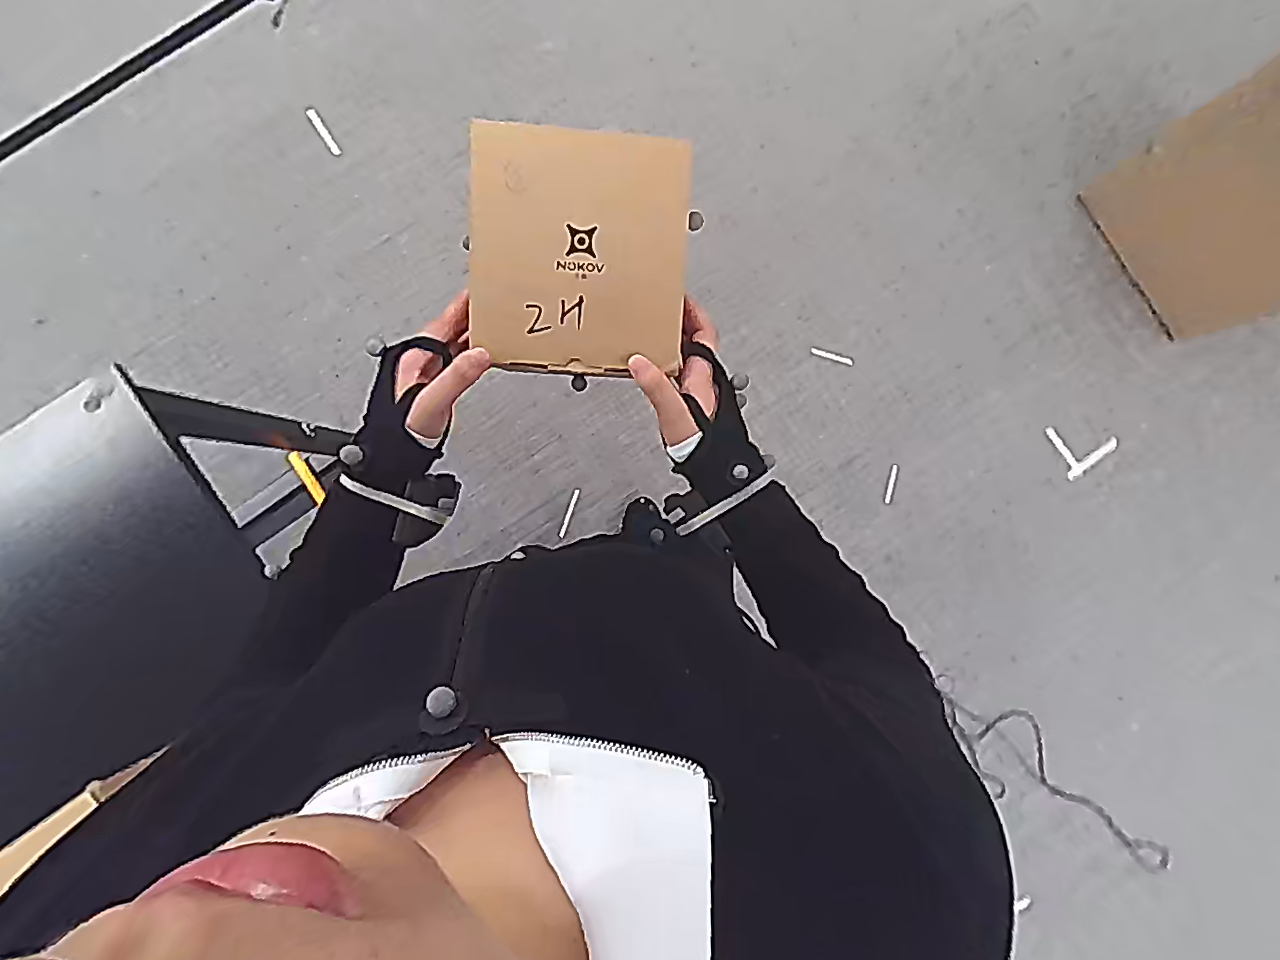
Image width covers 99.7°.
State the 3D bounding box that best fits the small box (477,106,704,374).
[{"bbox_3d":[-0.045,-0.194,0.490,0.168,0.176,0.179,3,99,-4],"label":"small box"}]

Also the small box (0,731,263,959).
[{"bbox_3d":[-0.611,0.448,0.662,0.179,0.176,0.168,-36,89,-3],"label":"small box"}]

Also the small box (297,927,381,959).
[{"bbox_3d":[-0.405,0.715,0.656,0.168,0.176,0.179,-33,88,-3],"label":"small box"}]
